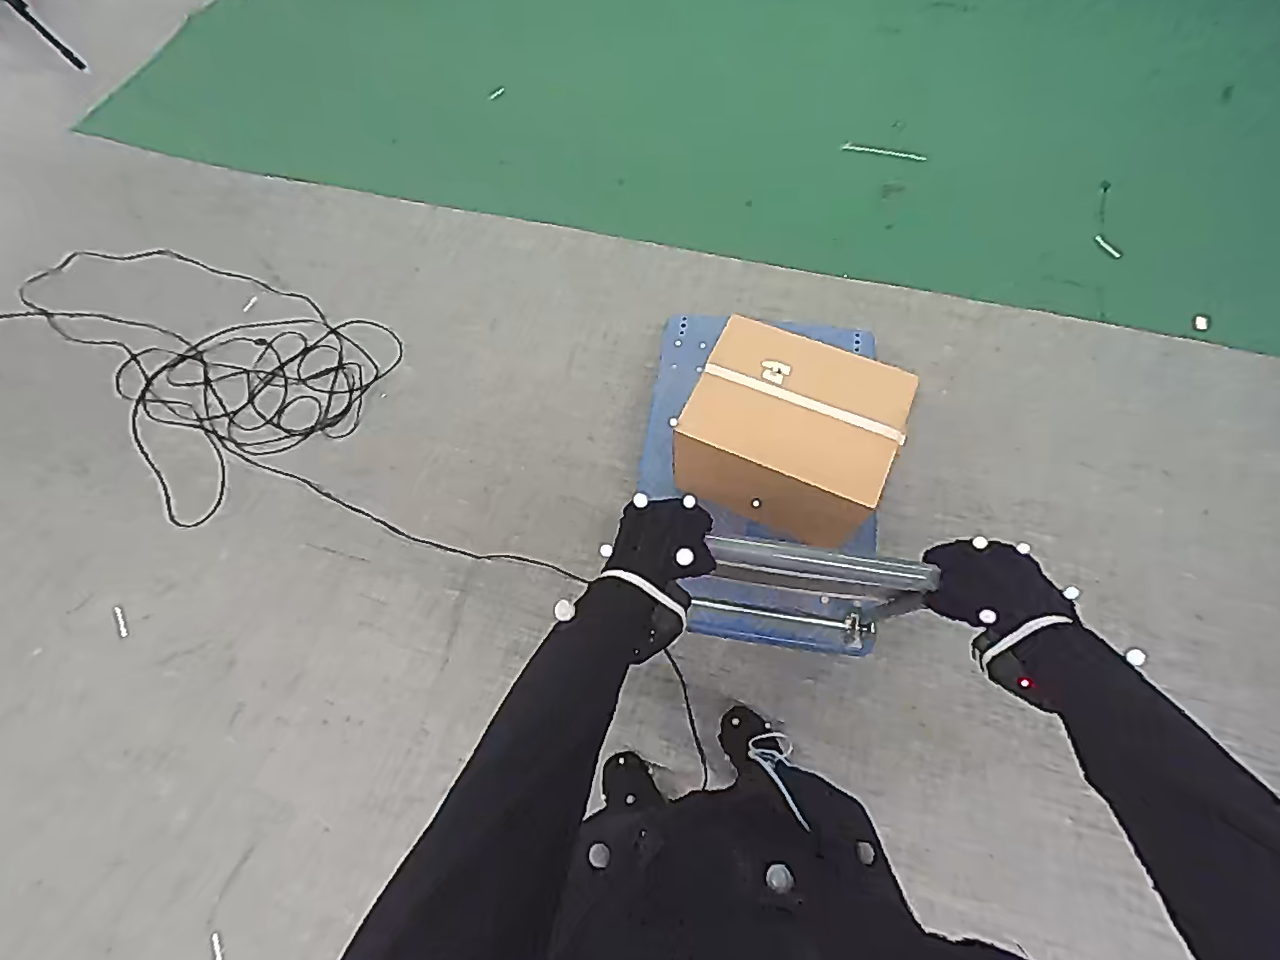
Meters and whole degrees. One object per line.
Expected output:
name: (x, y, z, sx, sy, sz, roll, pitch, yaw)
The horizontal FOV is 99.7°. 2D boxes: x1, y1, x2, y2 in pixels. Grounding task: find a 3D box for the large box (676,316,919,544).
large box: (0.327, -0.098, 1.202, 0.408, 0.320, 0.320, 22, 71, 14)
